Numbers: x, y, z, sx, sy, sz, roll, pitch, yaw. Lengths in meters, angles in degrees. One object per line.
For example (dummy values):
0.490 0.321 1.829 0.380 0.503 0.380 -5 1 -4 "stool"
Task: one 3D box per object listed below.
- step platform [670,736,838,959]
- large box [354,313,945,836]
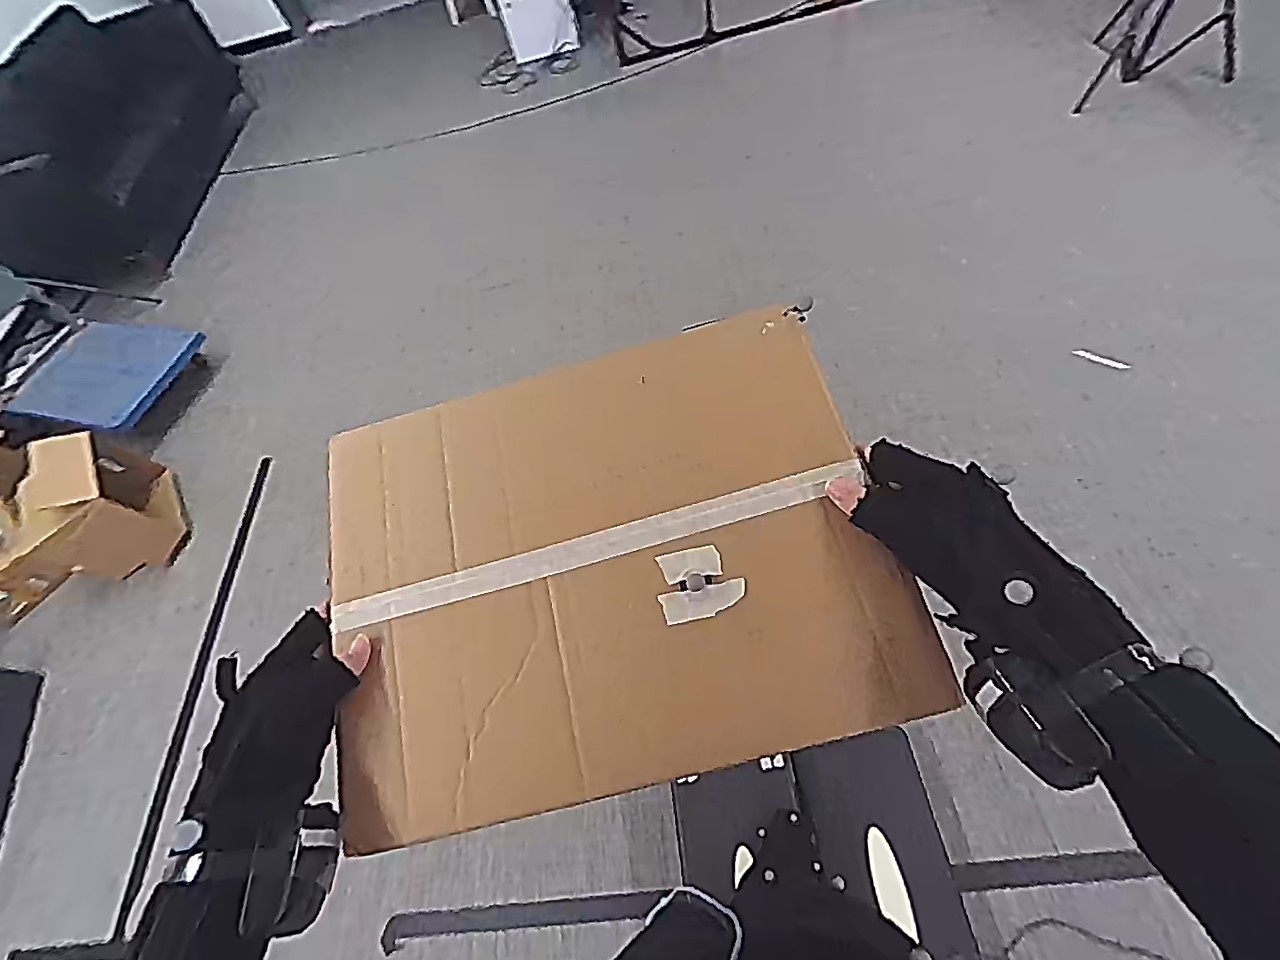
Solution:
0.249 0.901 1.174 0.286 0.204 0.684 -12 56 6 "step platform"
-0.006 0.102 0.548 0.408 0.320 0.320 -16 69 3 "large box"
